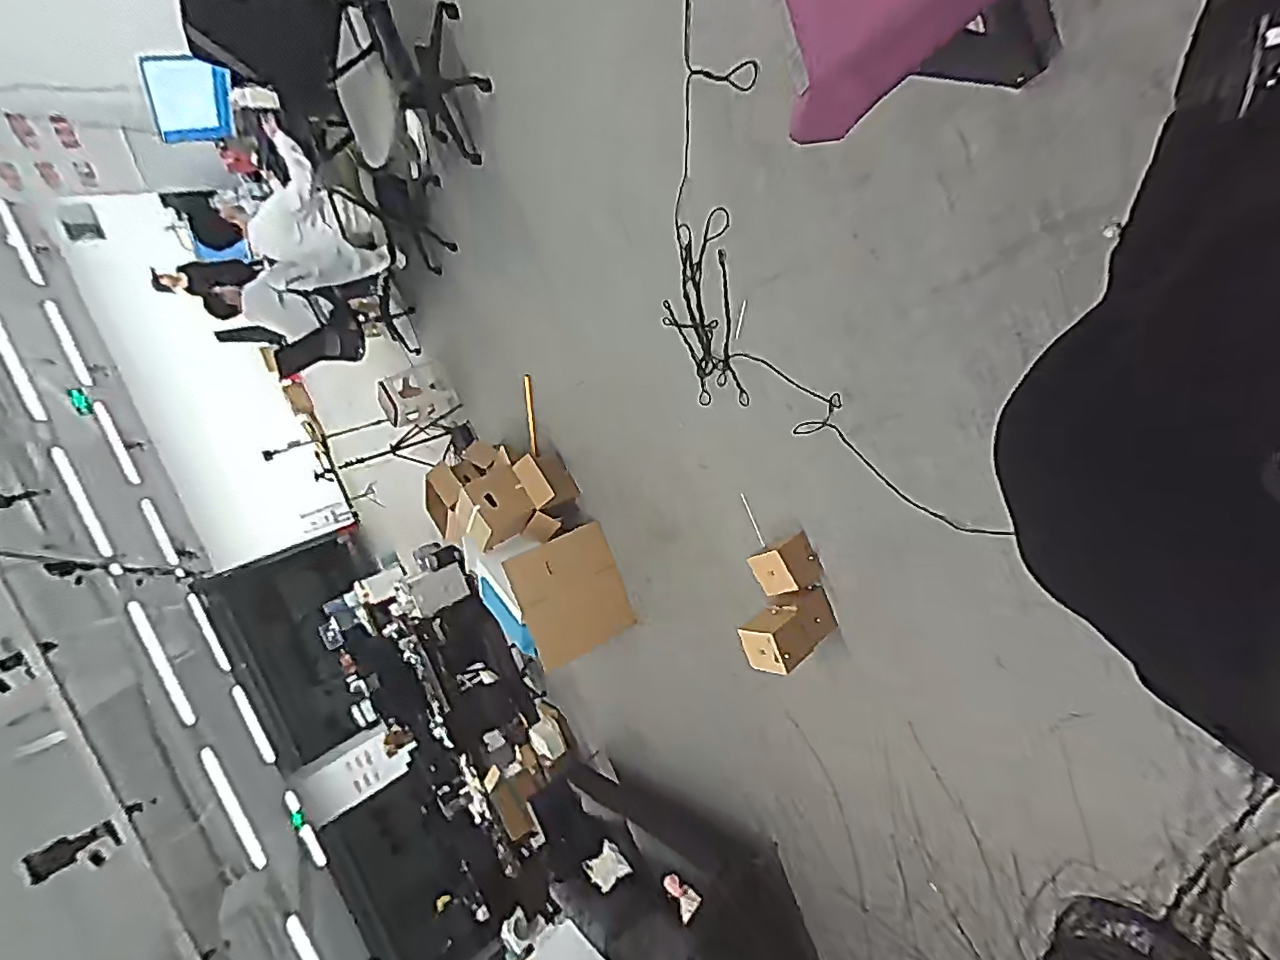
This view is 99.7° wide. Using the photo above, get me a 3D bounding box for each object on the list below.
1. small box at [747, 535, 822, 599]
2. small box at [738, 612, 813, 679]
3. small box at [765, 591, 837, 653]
[{"bbox_3d":[0.548,0.329,2.040,0.168,0.176,0.179,61,145,3],"label":"small box"},{"bbox_3d":[0.499,0.599,1.982,0.179,0.176,0.168,-13,100,57],"label":"small box"},{"bbox_3d":[0.619,0.535,2.074,0.168,0.176,0.179,-16,99,56],"label":"small box"}]
